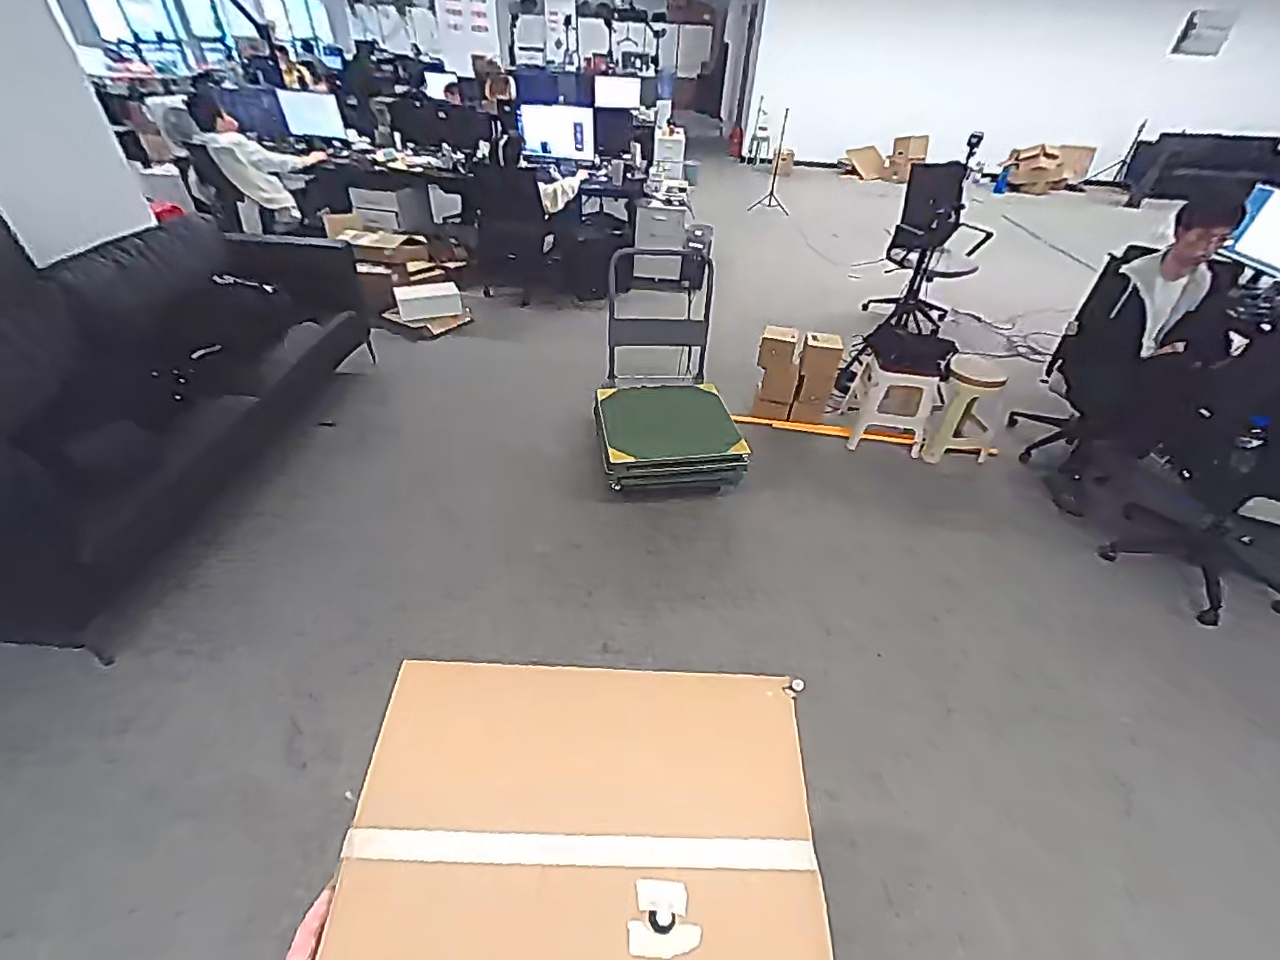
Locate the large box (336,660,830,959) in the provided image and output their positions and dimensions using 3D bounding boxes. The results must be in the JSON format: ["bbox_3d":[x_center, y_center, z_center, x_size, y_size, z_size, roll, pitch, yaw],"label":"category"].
[{"bbox_3d":[-0.052,0.409,0.601,0.408,0.320,0.320,3,53,-3],"label":"large box"}]
